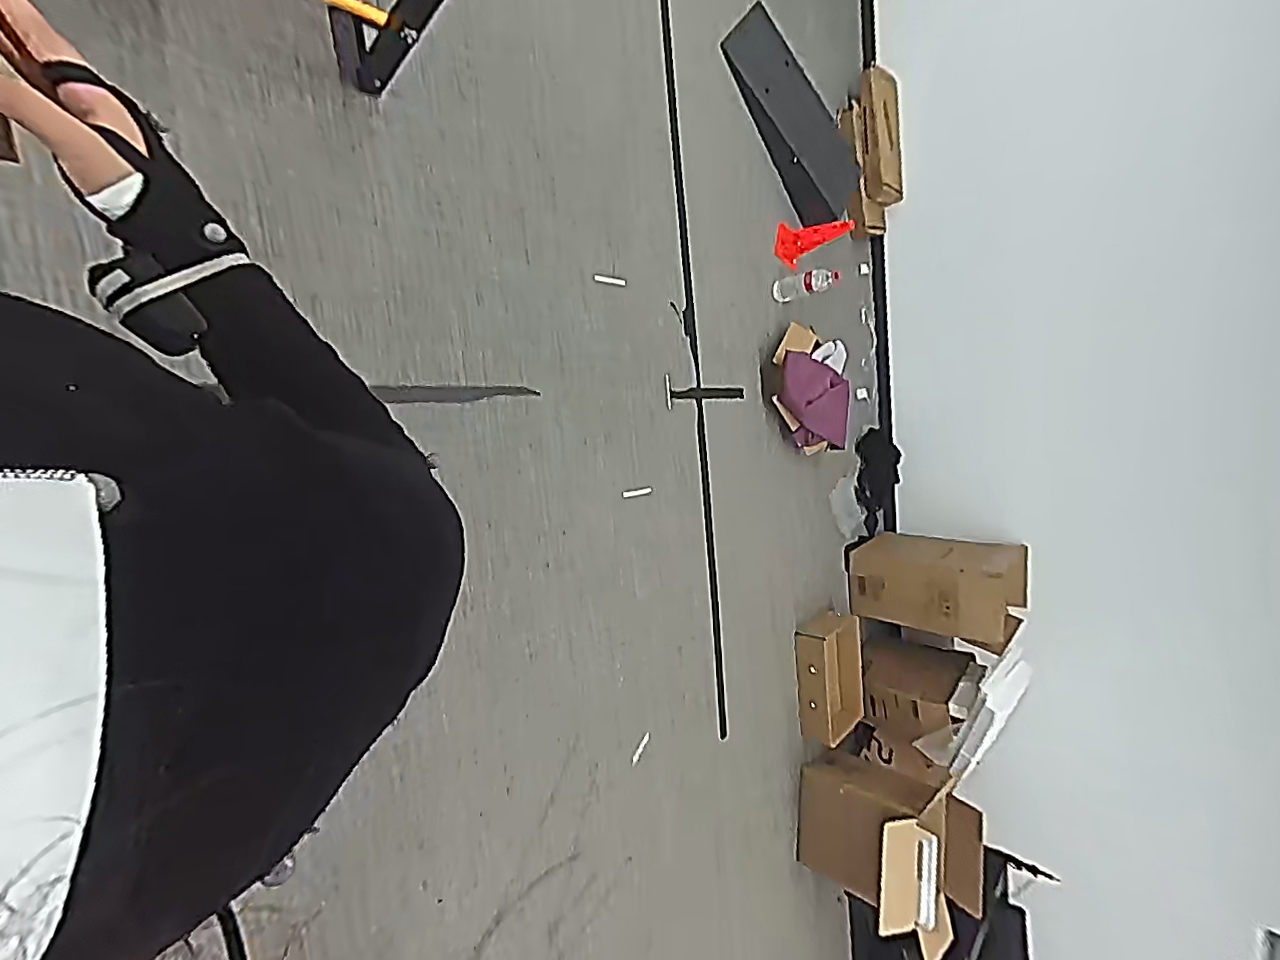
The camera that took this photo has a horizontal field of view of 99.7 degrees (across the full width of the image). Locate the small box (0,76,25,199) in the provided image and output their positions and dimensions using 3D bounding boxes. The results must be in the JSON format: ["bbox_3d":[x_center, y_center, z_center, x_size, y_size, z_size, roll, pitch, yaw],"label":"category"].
[{"bbox_3d":[-0.498,-0.272,0.302,0.179,0.176,0.168,-13,108,-44],"label":"small box"}]
